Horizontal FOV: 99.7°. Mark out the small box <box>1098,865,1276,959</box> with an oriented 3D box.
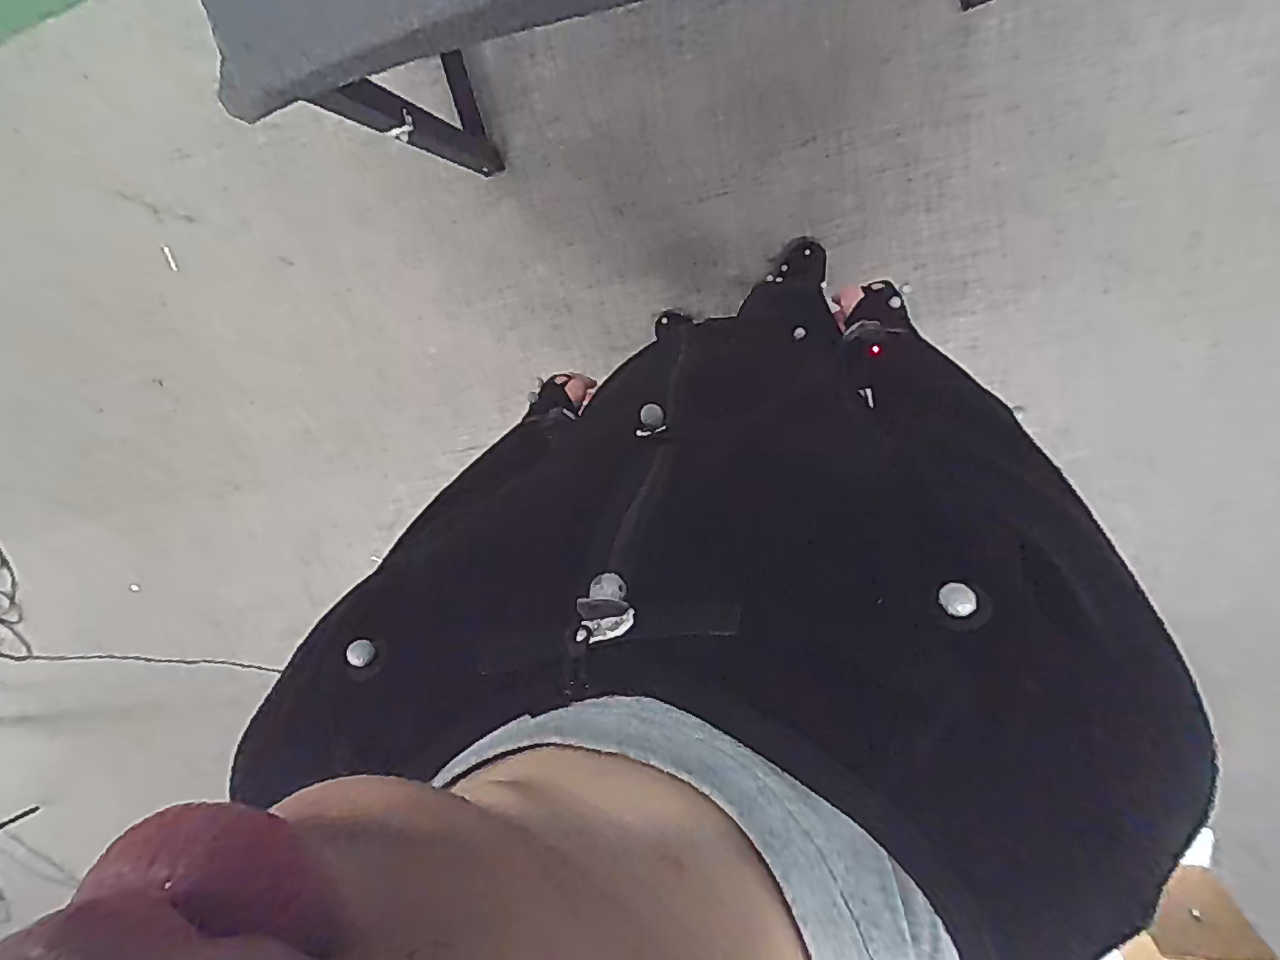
[{"bbox_3d":[1.021,0.869,1.029,0.179,0.176,0.168,-9,109,12],"label":"small box"}]
